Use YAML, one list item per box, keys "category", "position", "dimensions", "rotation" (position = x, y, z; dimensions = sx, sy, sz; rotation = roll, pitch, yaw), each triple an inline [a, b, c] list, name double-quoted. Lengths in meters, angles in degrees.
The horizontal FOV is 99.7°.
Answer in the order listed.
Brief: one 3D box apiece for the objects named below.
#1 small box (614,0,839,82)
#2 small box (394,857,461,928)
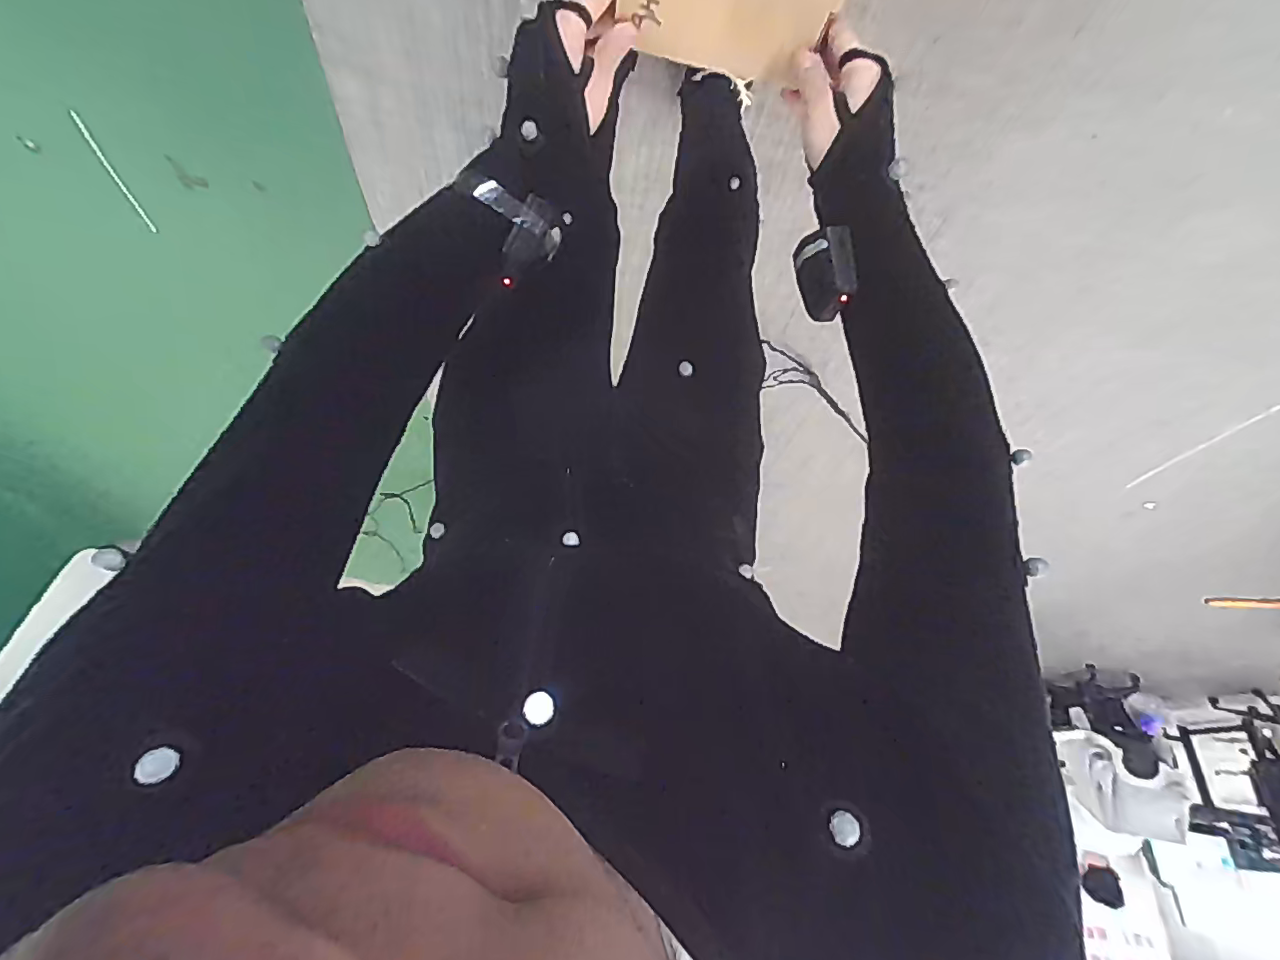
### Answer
- category: "small box"
  position: [0.081, -0.472, 0.436]
  dimensions: [0.179, 0.176, 0.168]
  rotation: [7, 152, -8]
- category: "small box"
  position: [-0.737, 1.437, 1.895]
  dimensions: [0.168, 0.176, 0.179]
  rotation: [12, 151, -6]
